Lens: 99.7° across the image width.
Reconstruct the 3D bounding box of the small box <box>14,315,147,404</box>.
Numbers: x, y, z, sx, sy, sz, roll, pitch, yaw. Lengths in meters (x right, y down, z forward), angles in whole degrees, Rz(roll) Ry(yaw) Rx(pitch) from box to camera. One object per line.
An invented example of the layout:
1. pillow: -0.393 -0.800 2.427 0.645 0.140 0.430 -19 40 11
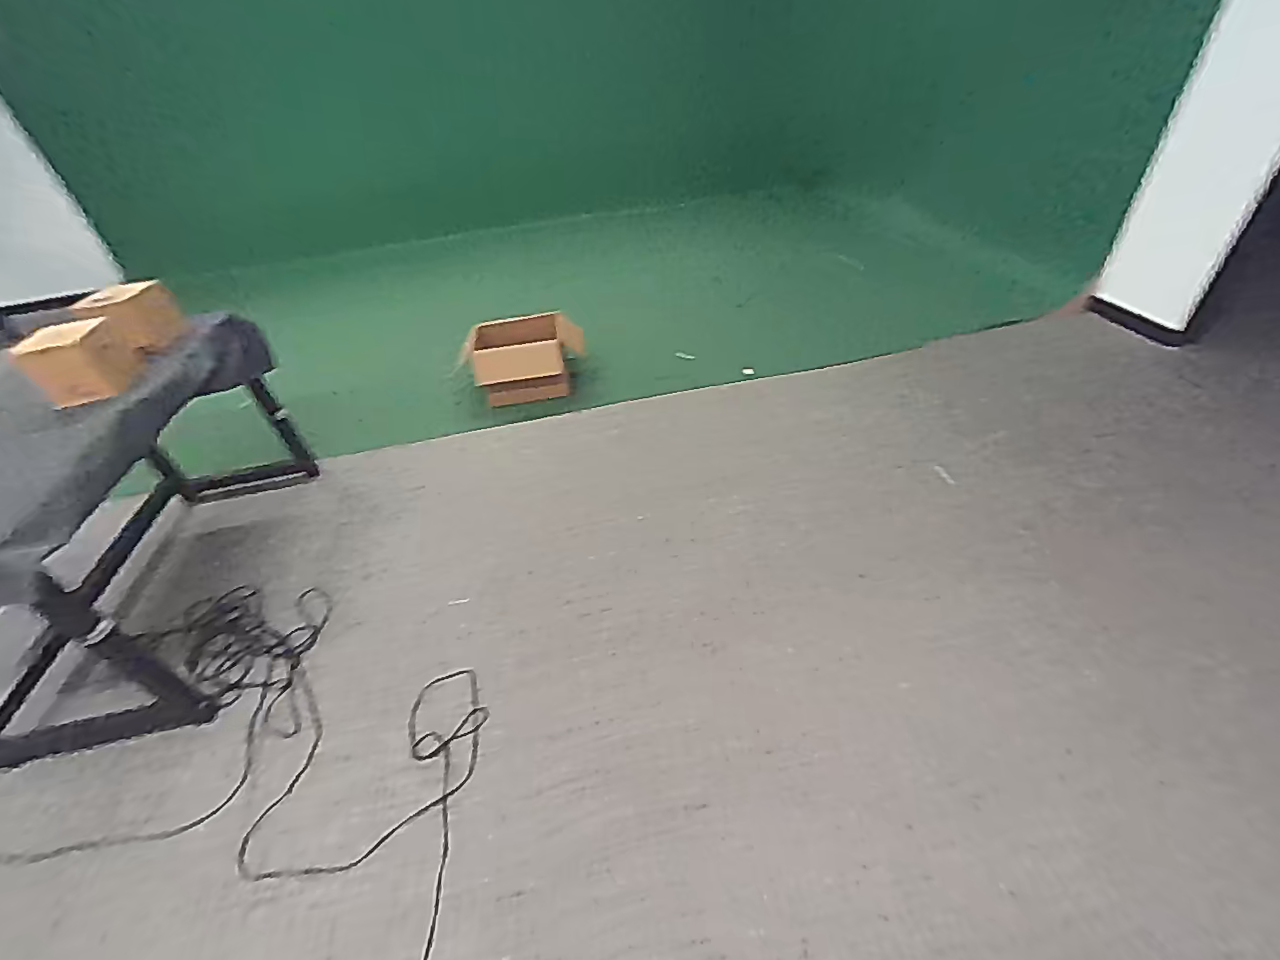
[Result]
1. small box: -1.548 -0.338 1.516 0.168 0.176 0.179 -13 42 -6
